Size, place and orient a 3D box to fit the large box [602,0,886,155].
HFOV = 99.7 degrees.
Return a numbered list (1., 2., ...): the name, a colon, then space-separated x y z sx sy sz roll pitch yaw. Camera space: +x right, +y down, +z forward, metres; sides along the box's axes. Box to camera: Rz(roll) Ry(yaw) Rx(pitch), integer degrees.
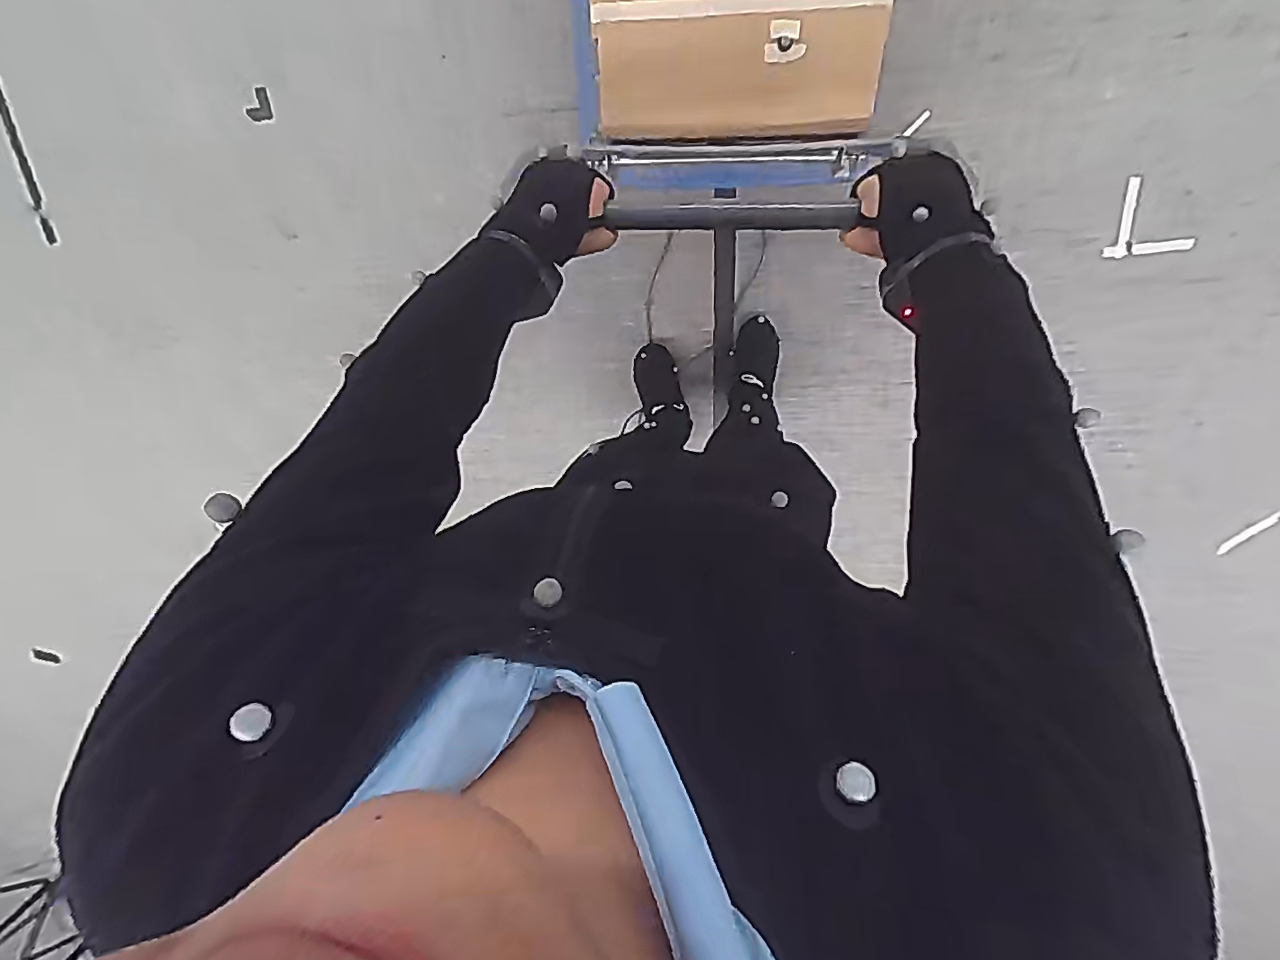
1. large box: 0.158 -0.736 0.896 0.408 0.320 0.320 2 119 6
